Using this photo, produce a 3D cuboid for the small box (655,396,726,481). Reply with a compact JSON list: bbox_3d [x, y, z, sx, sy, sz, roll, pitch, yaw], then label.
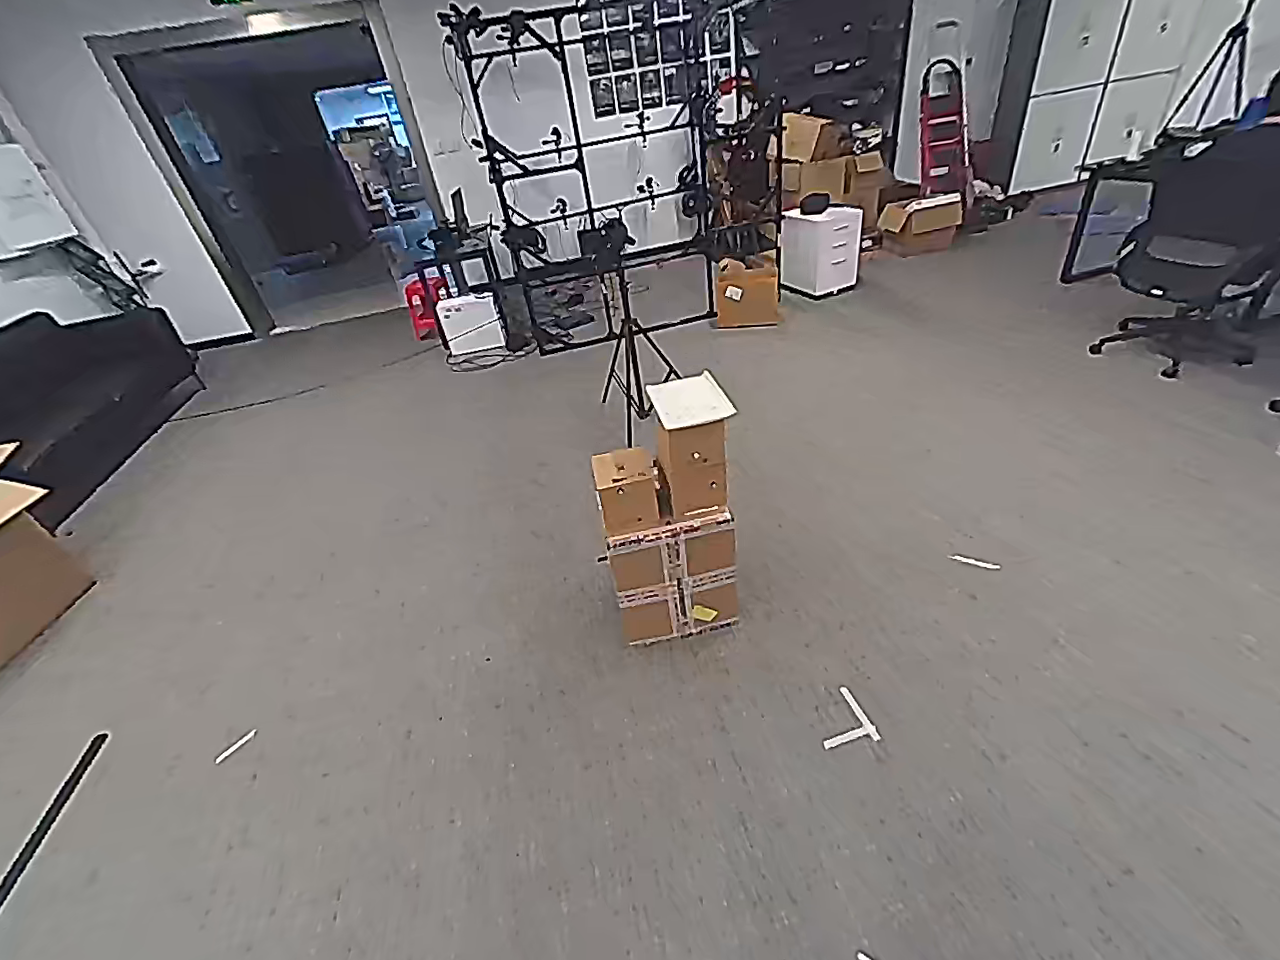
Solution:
[{"bbox_3d":[0.143,-0.120,1.559,0.168,0.176,0.179,-11,37,-6],"label":"small box"}]
